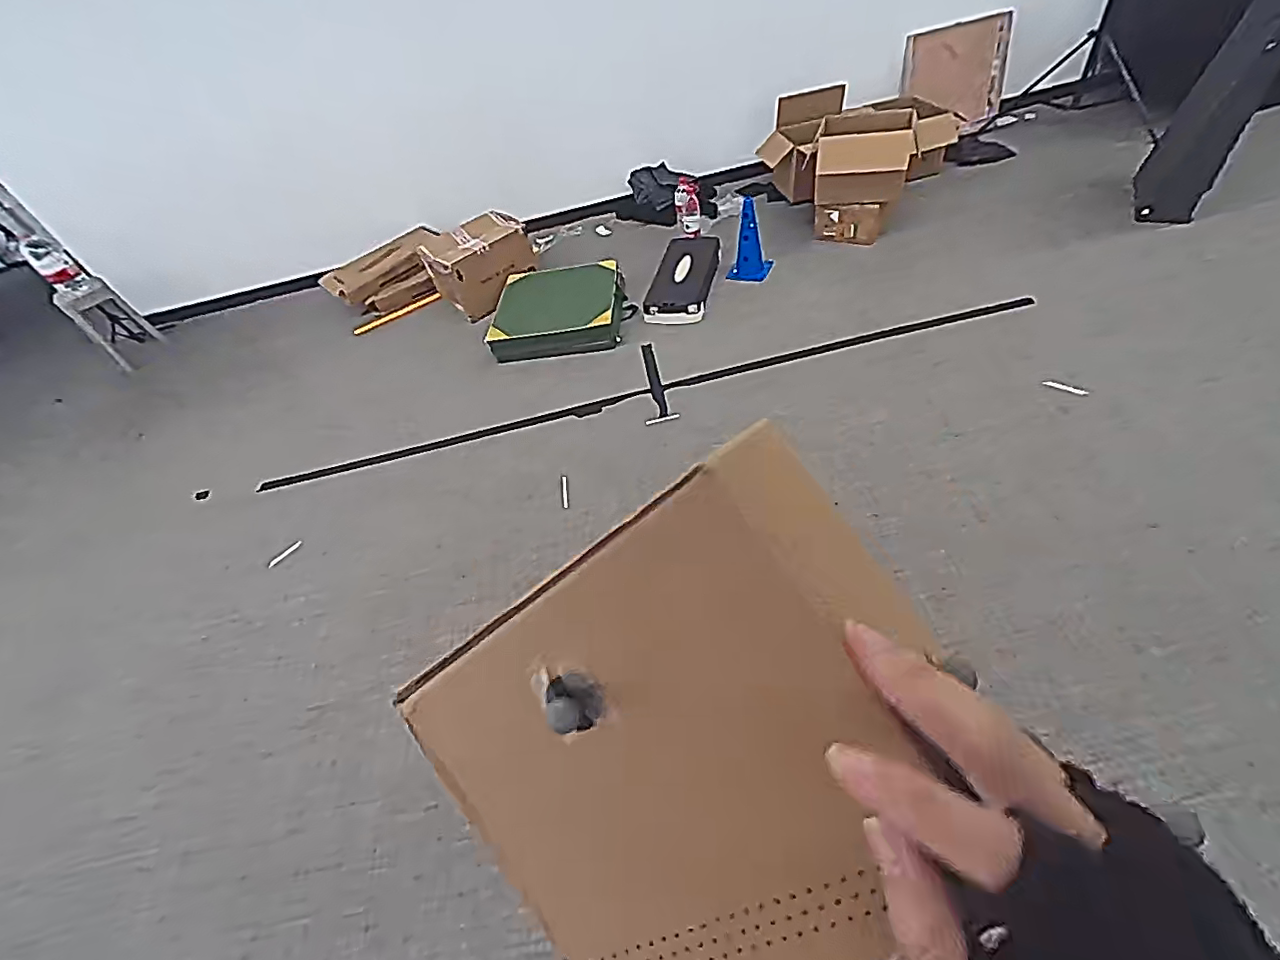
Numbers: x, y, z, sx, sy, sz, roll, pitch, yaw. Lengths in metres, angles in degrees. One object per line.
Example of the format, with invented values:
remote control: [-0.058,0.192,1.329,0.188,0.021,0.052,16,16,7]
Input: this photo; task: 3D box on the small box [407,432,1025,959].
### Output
small box: [0.034,0.102,0.267,0.179,0.168,0.176,-39,87,24]
